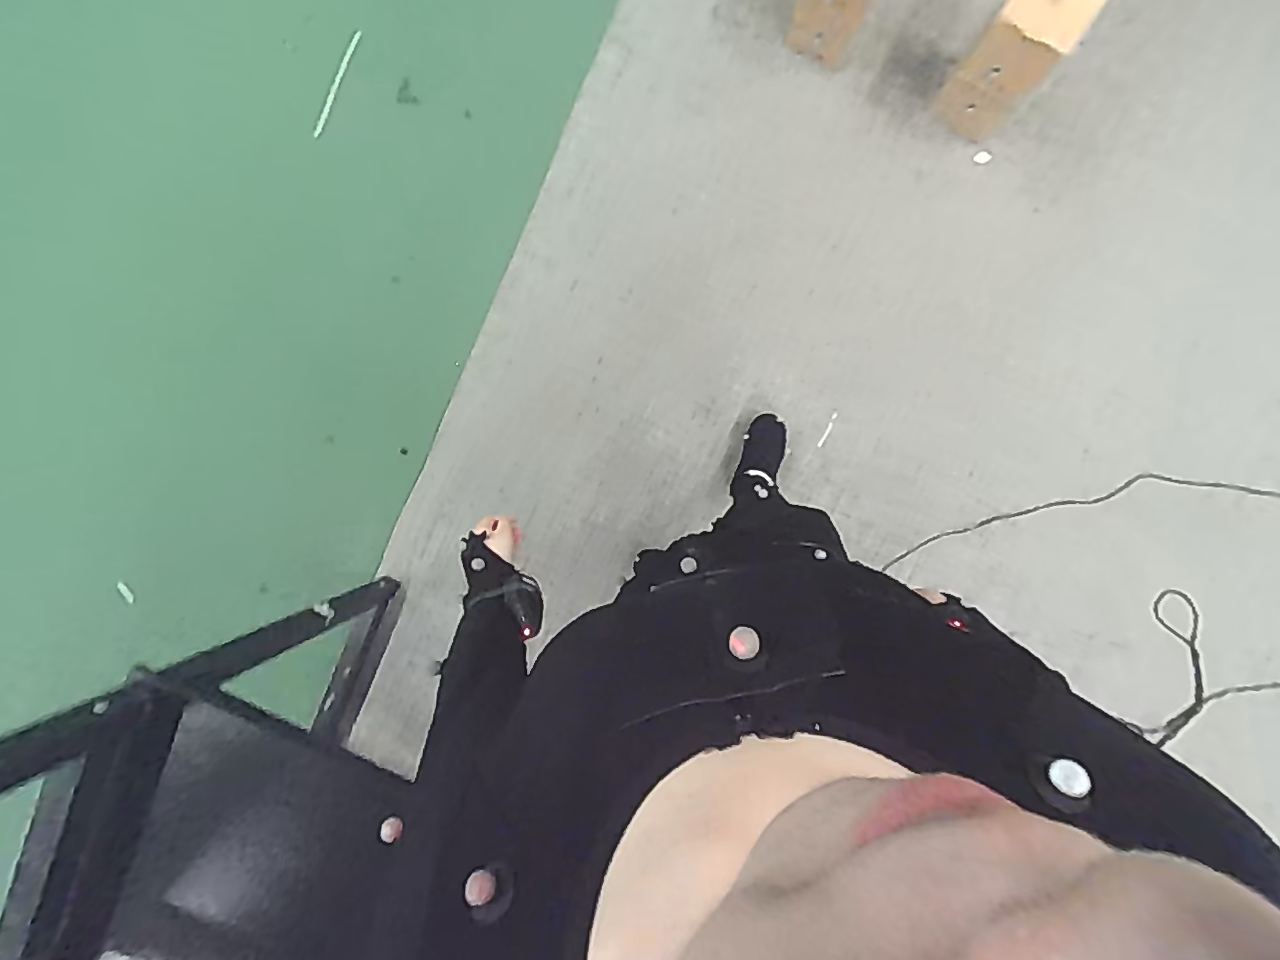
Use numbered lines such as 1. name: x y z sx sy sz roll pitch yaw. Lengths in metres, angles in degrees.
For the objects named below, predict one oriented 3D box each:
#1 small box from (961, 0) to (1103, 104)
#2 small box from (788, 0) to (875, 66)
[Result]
1. small box: 0.842 -0.976 1.168 0.168 0.176 0.179 33 95 2
2. small box: 0.488 -1.193 1.346 0.168 0.176 0.179 29 95 2
